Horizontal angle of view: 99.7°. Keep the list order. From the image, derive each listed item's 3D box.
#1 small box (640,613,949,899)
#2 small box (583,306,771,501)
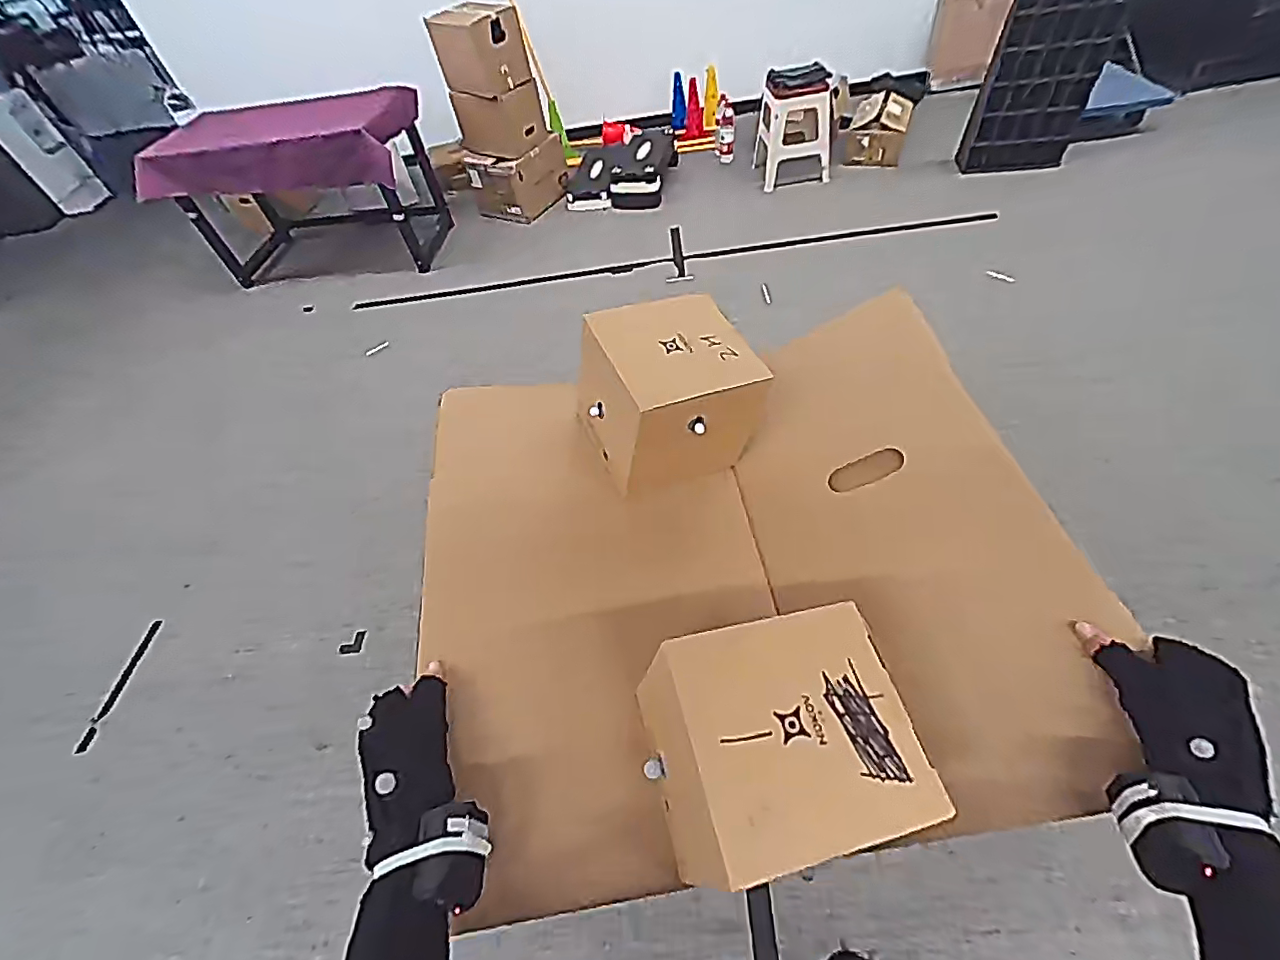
[{"bbox_3d":[0.110,0.235,0.471,0.179,0.176,0.168,-8,56,-14],"label":"small box"},{"bbox_3d":[0.033,-0.095,0.699,0.179,0.176,0.168,-16,58,-21],"label":"small box"}]
